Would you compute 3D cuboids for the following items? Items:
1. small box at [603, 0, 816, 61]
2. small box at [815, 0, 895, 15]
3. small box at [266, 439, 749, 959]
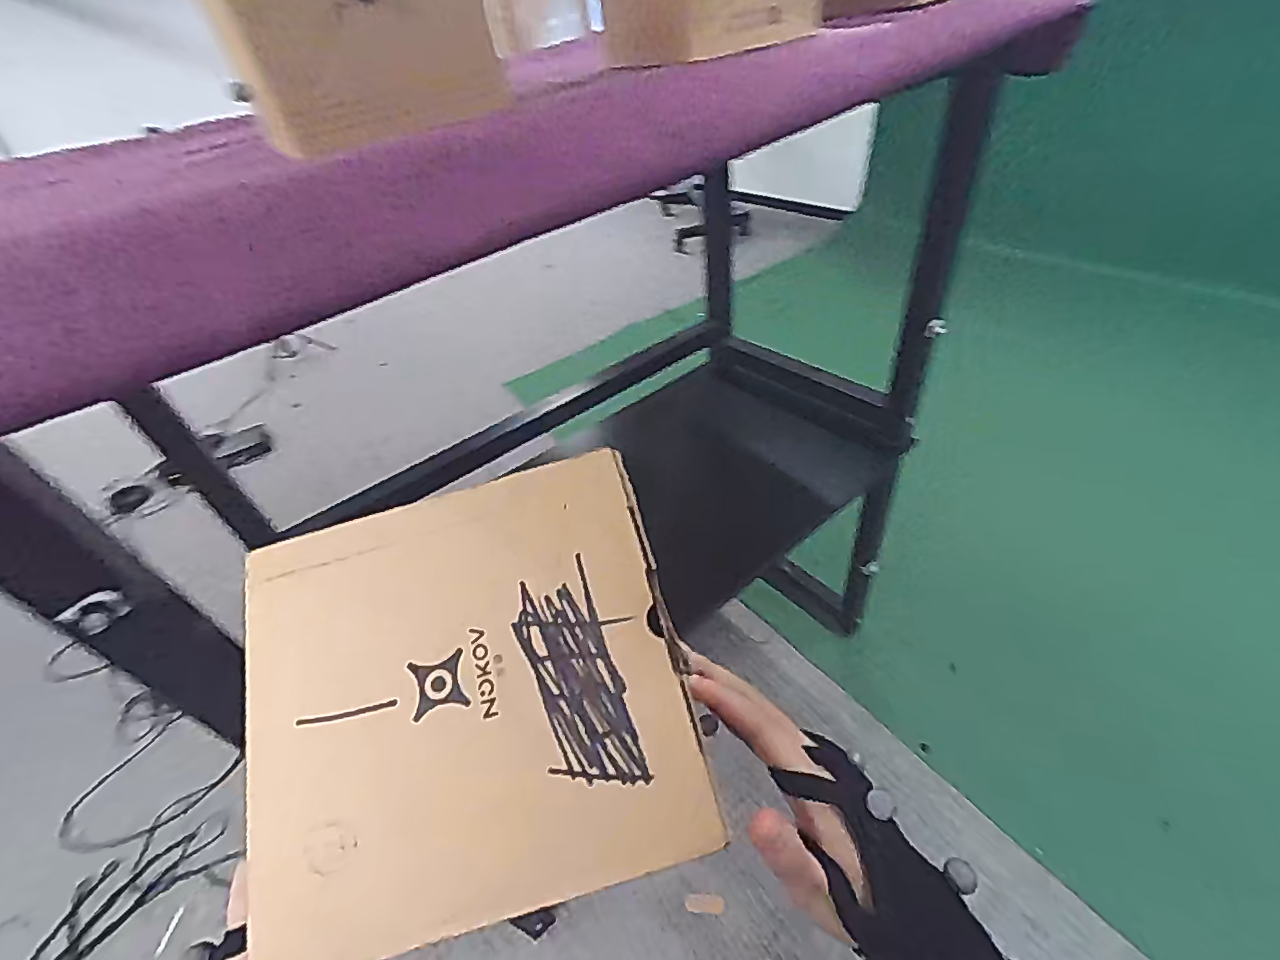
[{"bbox_3d":[0.065,-0.542,0.542,0.168,0.176,0.179,-28,43,-19],"label":"small box"},{"bbox_3d":[0.327,-0.715,0.680,0.168,0.176,0.179,-33,45,-24],"label":"small box"},{"bbox_3d":[-0.059,0.103,0.292,0.179,0.176,0.168,-15,68,-2],"label":"small box"}]
